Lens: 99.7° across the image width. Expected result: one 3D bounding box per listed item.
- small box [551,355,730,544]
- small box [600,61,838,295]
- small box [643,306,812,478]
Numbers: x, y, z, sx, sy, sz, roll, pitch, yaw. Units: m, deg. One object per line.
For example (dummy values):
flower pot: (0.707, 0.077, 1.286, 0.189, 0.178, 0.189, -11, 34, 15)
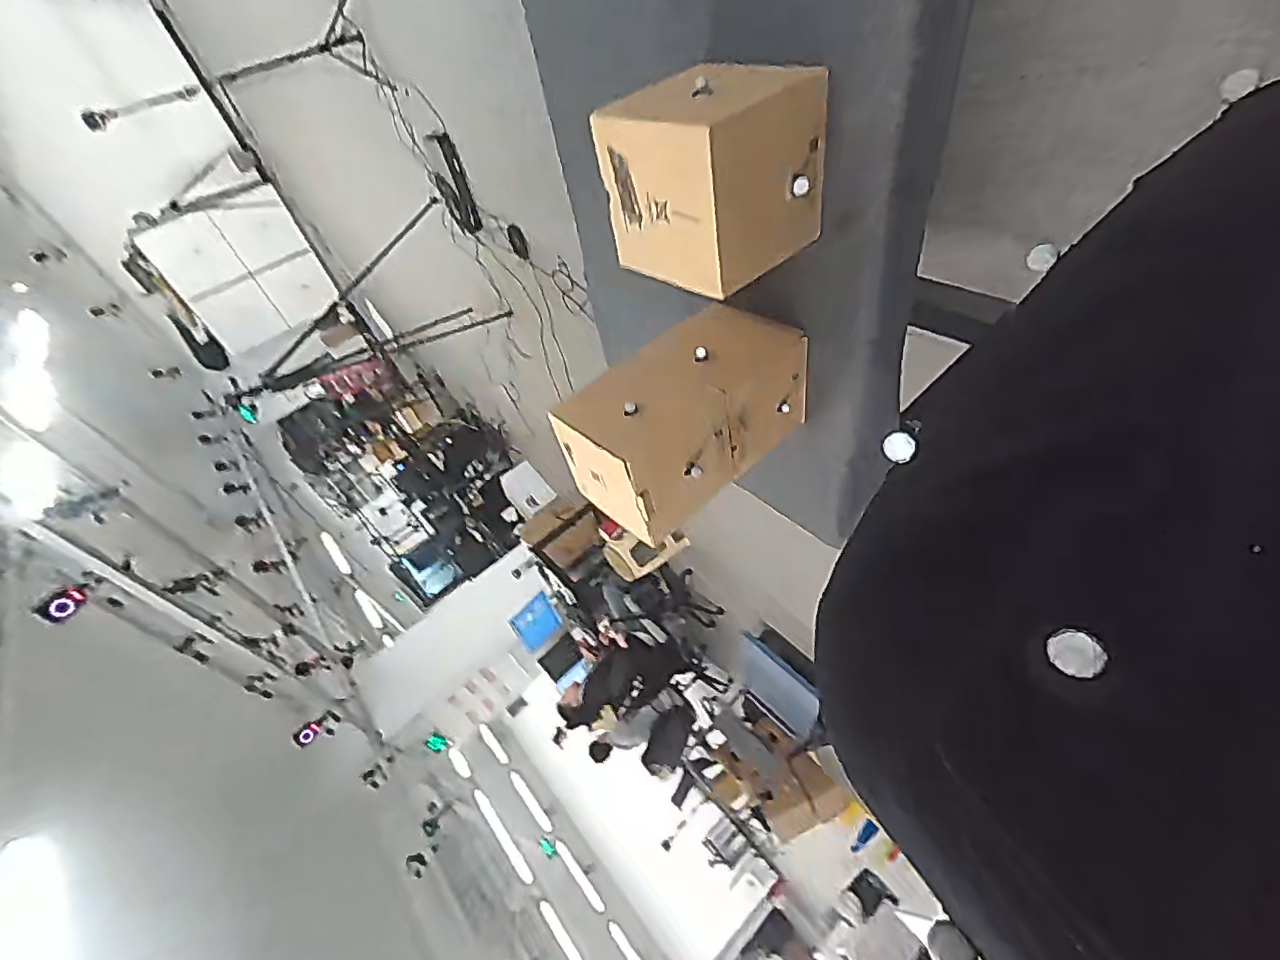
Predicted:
small box: (0.012, -0.051, 0.752, 0.179, 0.176, 0.168, 33, 151, 39)
small box: (0.086, -0.336, 0.594, 0.179, 0.176, 0.168, 37, 154, 37)
small box: (0.133, -0.141, 0.816, 0.179, 0.176, 0.168, 35, 152, 38)
